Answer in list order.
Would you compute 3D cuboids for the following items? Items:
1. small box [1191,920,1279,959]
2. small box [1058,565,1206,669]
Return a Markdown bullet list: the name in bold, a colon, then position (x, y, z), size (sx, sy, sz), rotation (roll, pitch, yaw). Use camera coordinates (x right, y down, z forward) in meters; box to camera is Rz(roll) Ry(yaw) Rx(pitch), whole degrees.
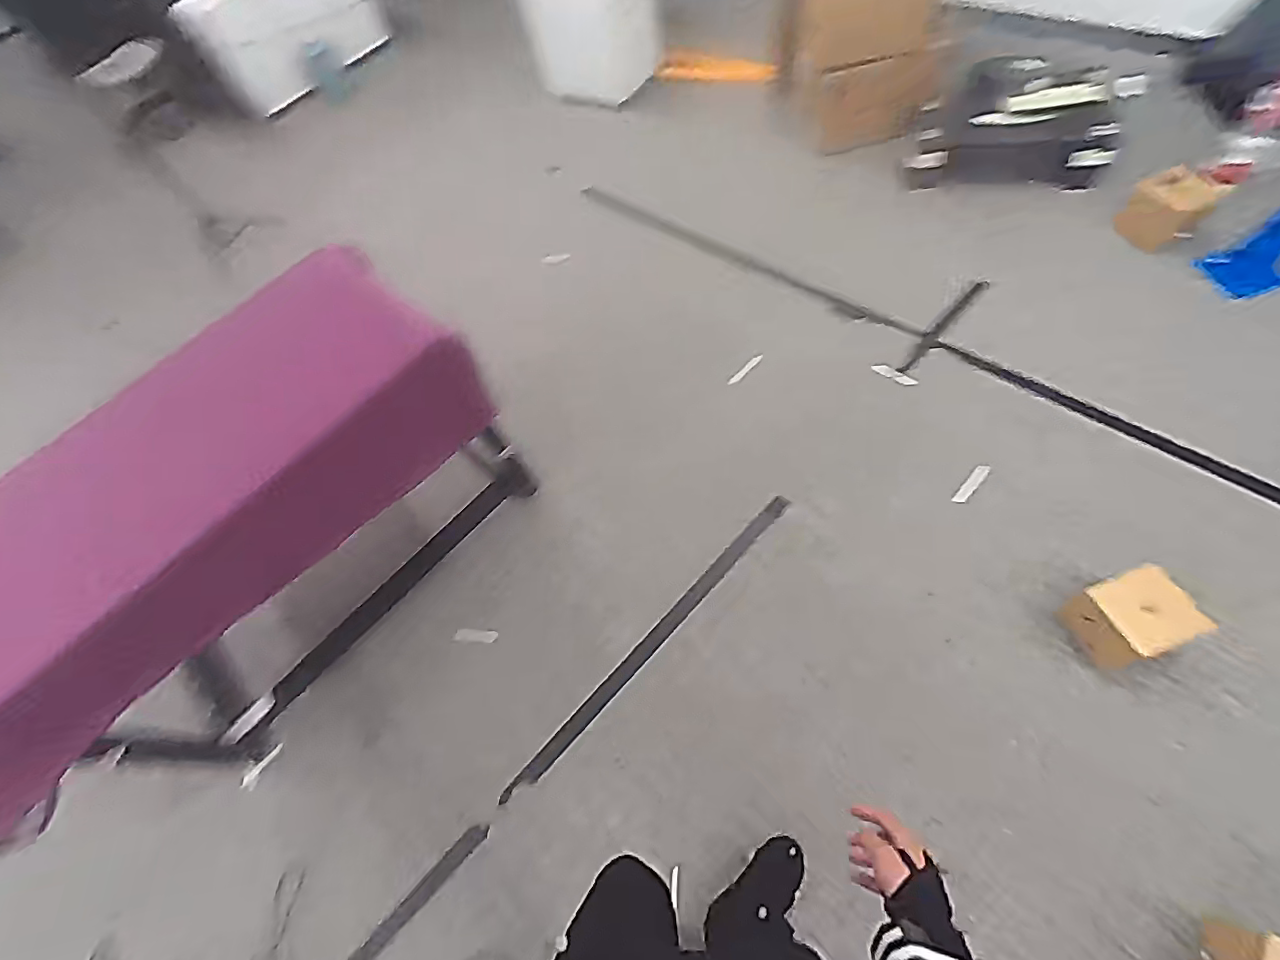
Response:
- **small box**: position (1.139, 0.930, 0.956), size (0.179, 0.176, 0.168), rotation (27, 70, 24)
- **small box**: position (1.150, 0.332, 1.289), size (0.179, 0.176, 0.168), rotation (-22, 59, -2)
